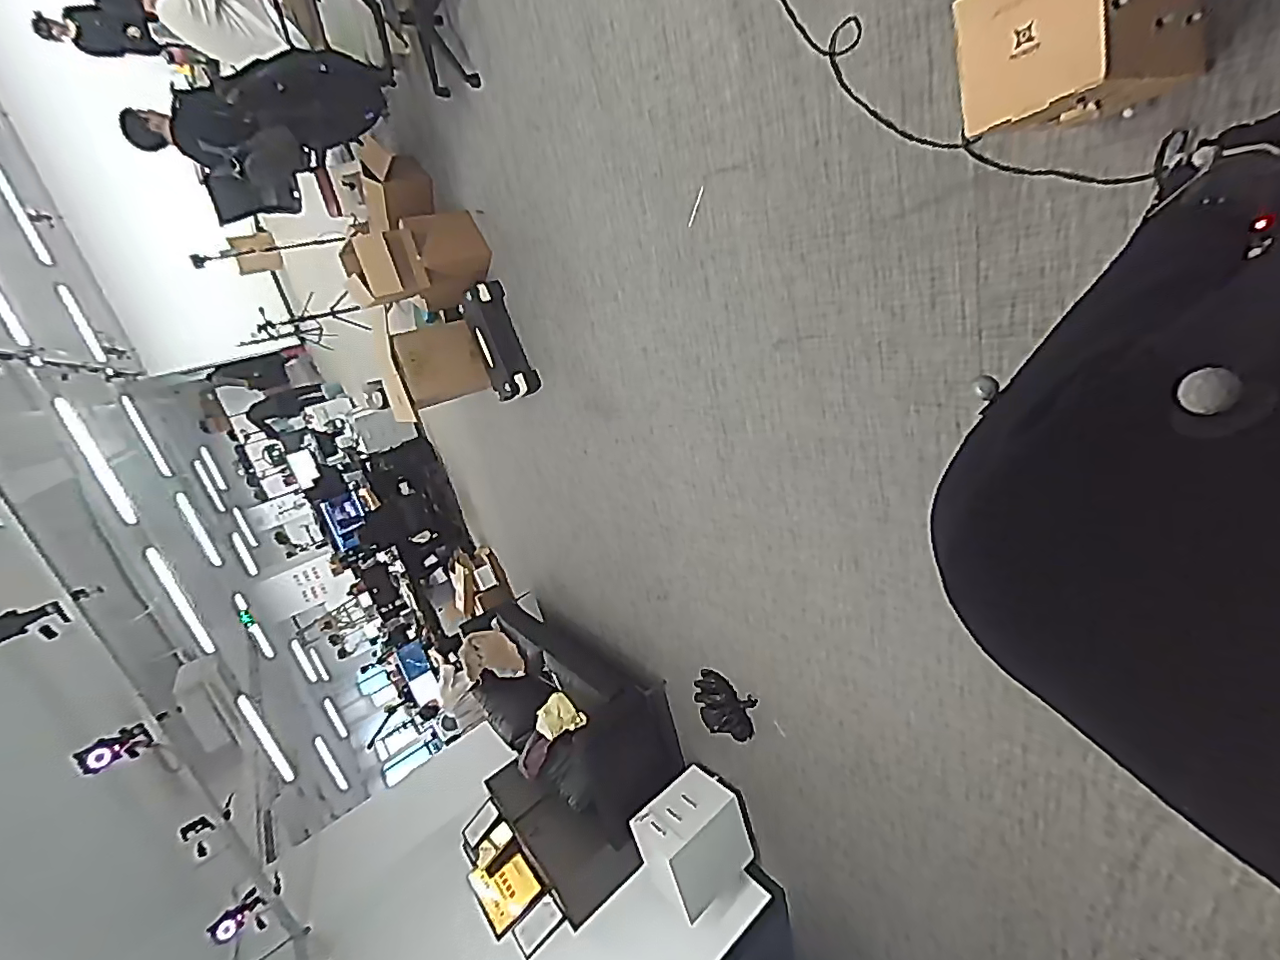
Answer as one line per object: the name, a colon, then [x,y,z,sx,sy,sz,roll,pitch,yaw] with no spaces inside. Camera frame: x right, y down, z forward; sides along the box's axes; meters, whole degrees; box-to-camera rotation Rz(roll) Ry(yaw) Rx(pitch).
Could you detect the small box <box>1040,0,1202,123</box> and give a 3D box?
small box: [0.811,-0.737,0.911,0.168,0.176,0.179,2,115,56]
